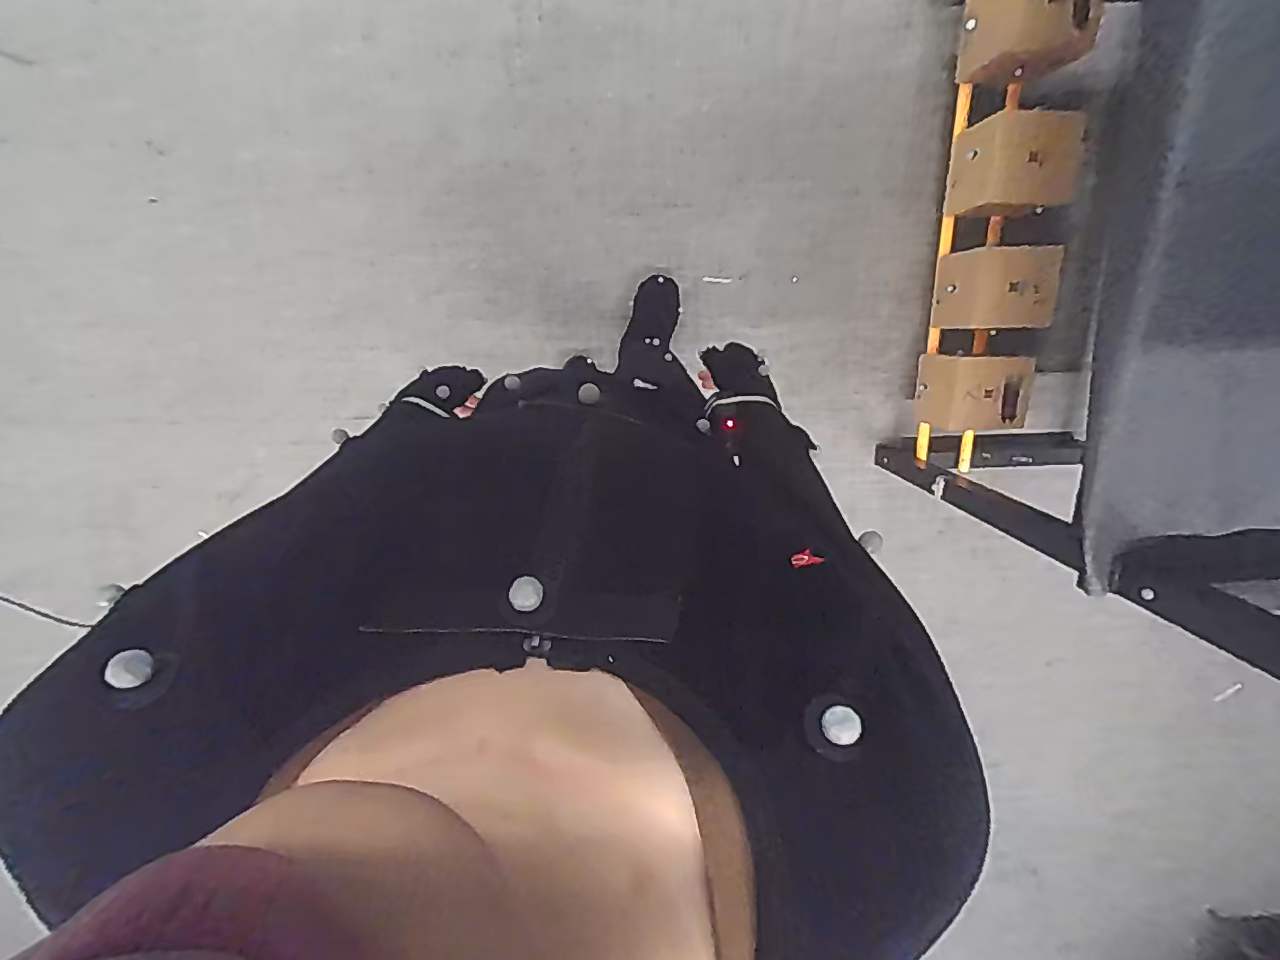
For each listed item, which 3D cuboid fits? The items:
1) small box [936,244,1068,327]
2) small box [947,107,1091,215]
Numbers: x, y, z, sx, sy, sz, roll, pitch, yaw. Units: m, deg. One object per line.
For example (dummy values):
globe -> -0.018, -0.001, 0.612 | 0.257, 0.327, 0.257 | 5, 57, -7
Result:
small box -> 0.800, -0.431, 1.216 | 0.179, 0.176, 0.168 | -2, 107, -1
small box -> 0.790, -0.667, 1.149 | 0.179, 0.176, 0.168 | 0, 107, -1
